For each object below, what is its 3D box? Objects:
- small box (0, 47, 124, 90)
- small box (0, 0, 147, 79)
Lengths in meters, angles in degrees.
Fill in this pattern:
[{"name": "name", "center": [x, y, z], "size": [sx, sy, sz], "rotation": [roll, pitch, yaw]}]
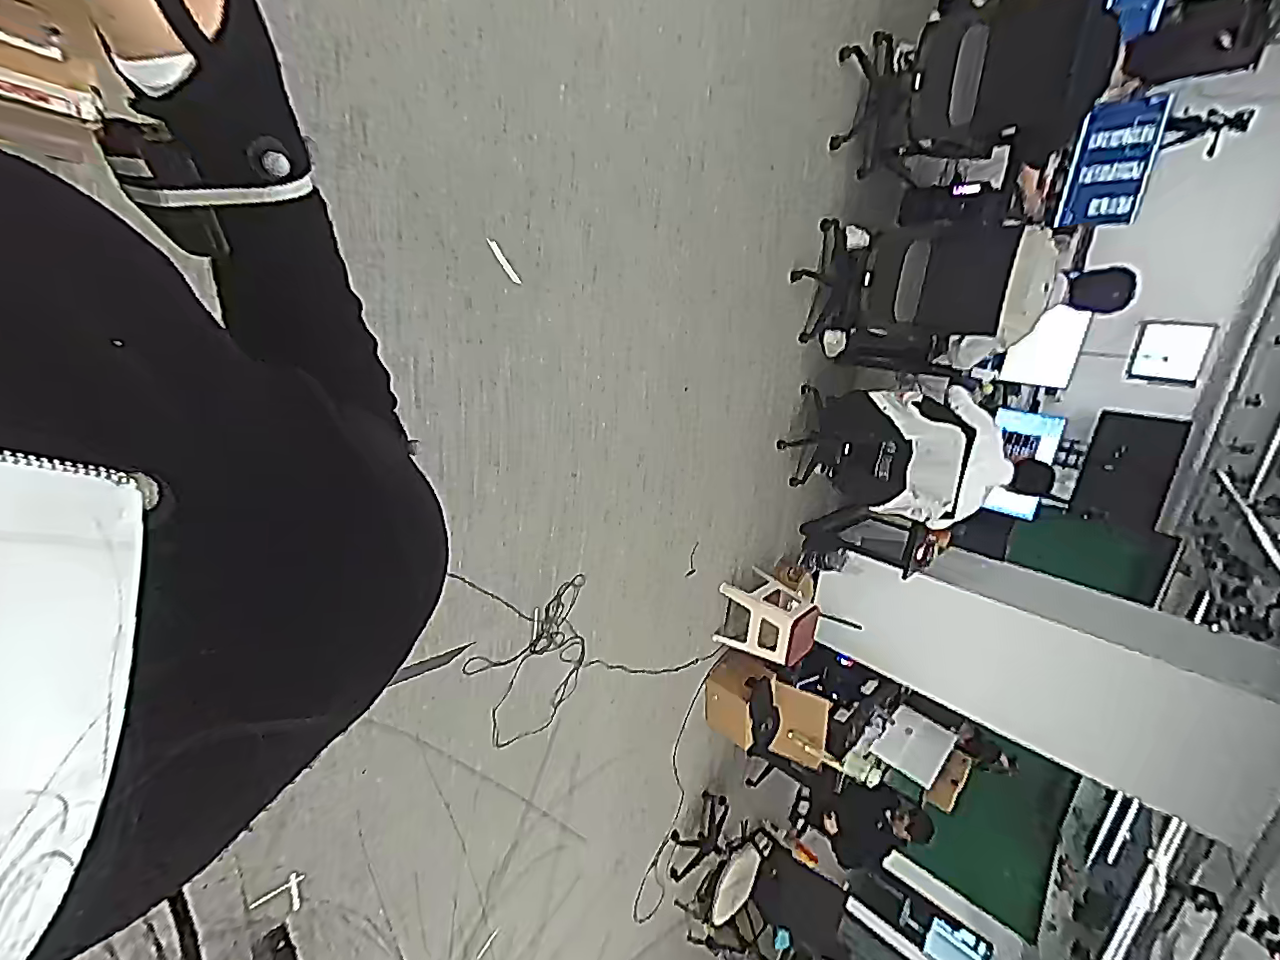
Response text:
[{"name": "small box", "center": [-0.660, -0.517, 0.539], "size": [0.179, 0.176, 0.168], "rotation": [-13, 116, -47]}, {"name": "small box", "center": [-0.535, -0.471, 0.442], "size": [0.168, 0.176, 0.179], "rotation": [-9, 114, -49]}]
